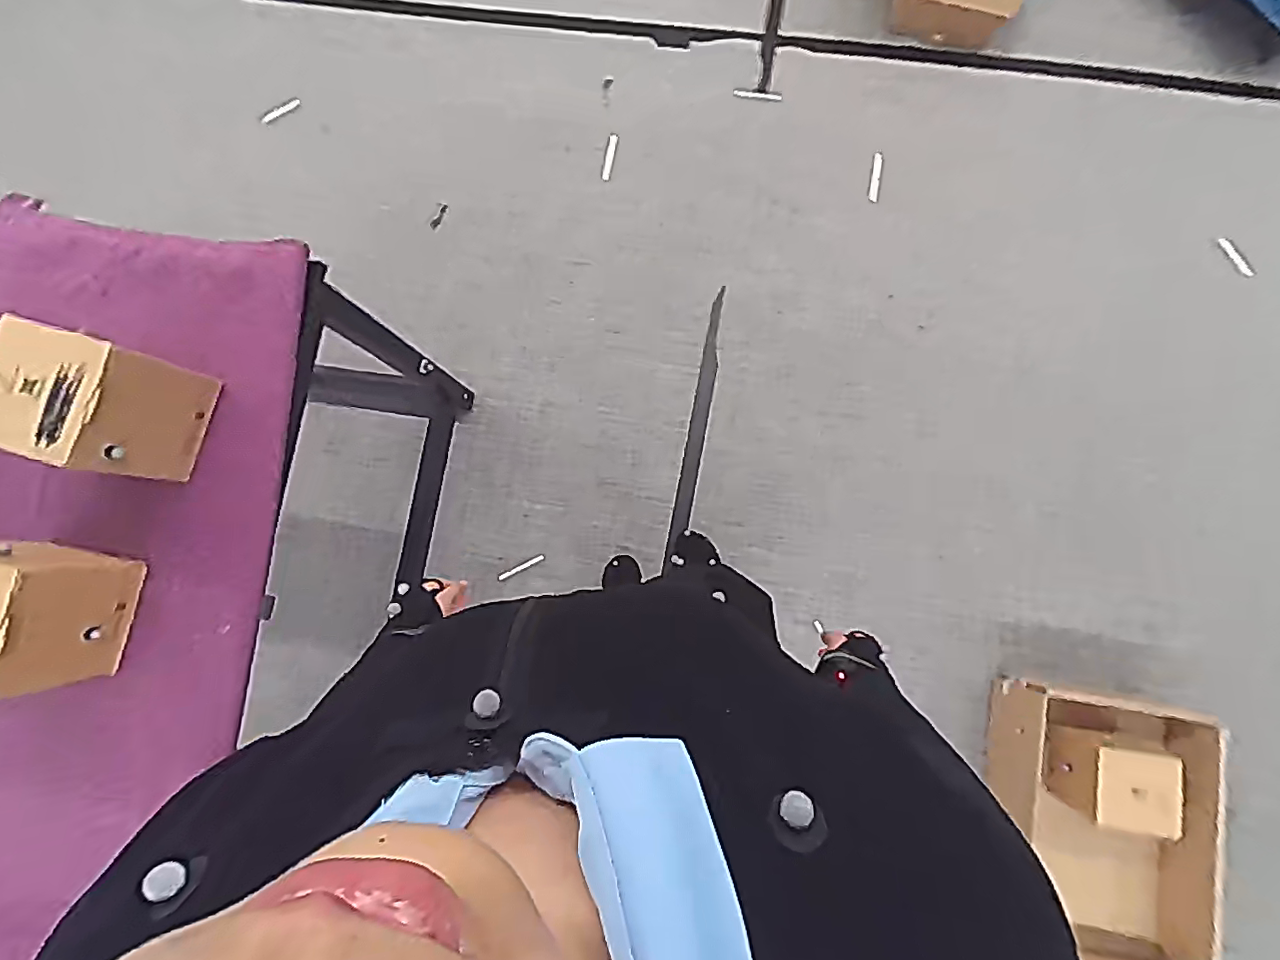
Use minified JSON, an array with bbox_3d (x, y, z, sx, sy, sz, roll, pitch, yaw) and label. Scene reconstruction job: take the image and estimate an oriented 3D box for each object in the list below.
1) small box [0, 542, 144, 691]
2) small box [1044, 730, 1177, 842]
[{"bbox_3d":[-0.851,0.179,0.734,0.179,0.176,0.168,11,84,4],"label":"small box"},{"bbox_3d":[1.085,0.701,1.261,0.179,0.176,0.168,7,84,4],"label":"small box"}]
